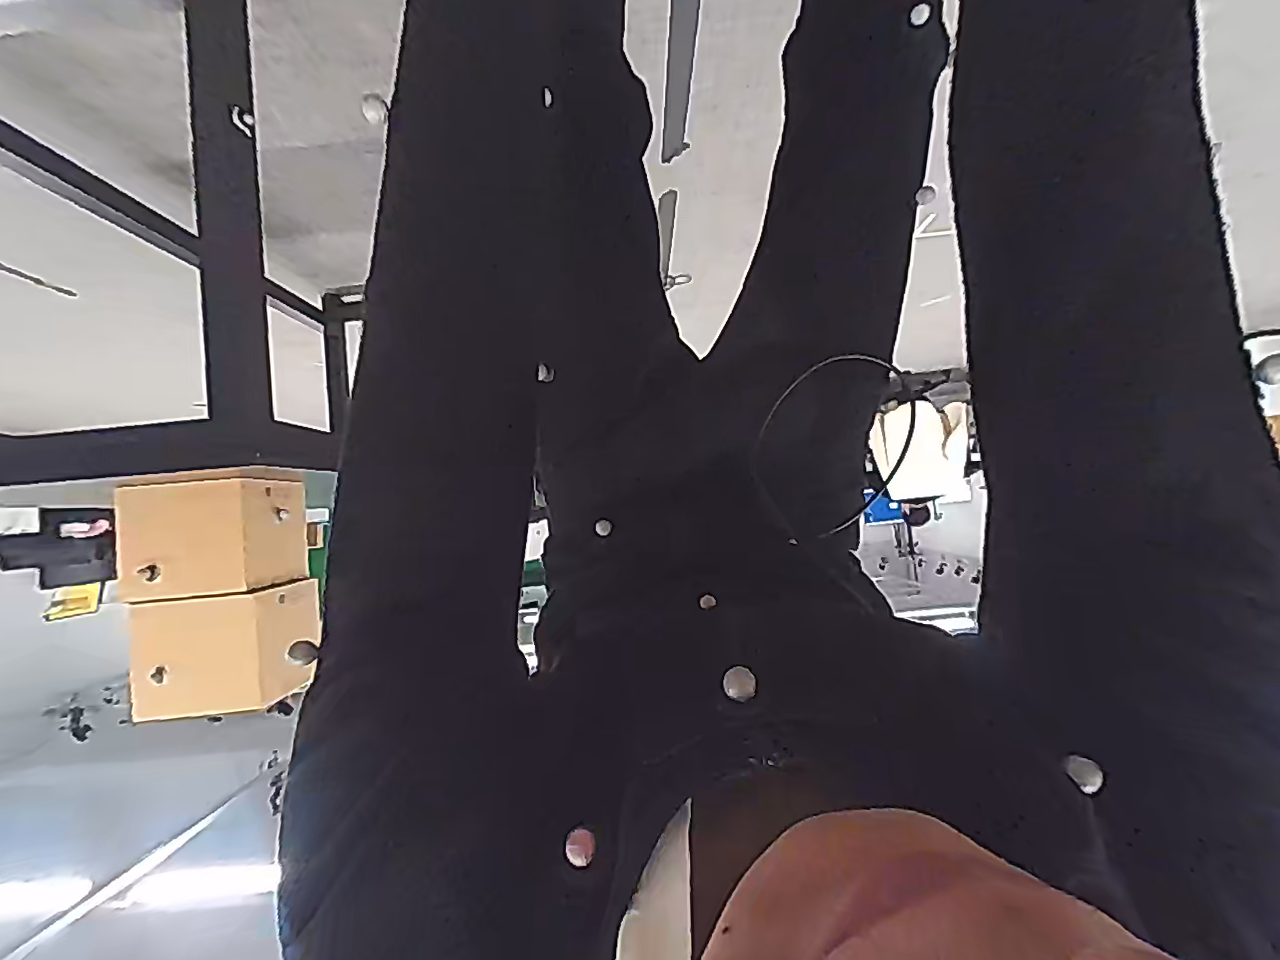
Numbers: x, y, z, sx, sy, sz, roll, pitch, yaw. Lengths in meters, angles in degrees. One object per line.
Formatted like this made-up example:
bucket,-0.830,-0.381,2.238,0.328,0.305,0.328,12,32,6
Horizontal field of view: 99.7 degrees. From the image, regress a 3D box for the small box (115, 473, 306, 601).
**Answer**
small box,-0.651,0.084,0.836,0.179,0.176,0.168,-5,178,-4
